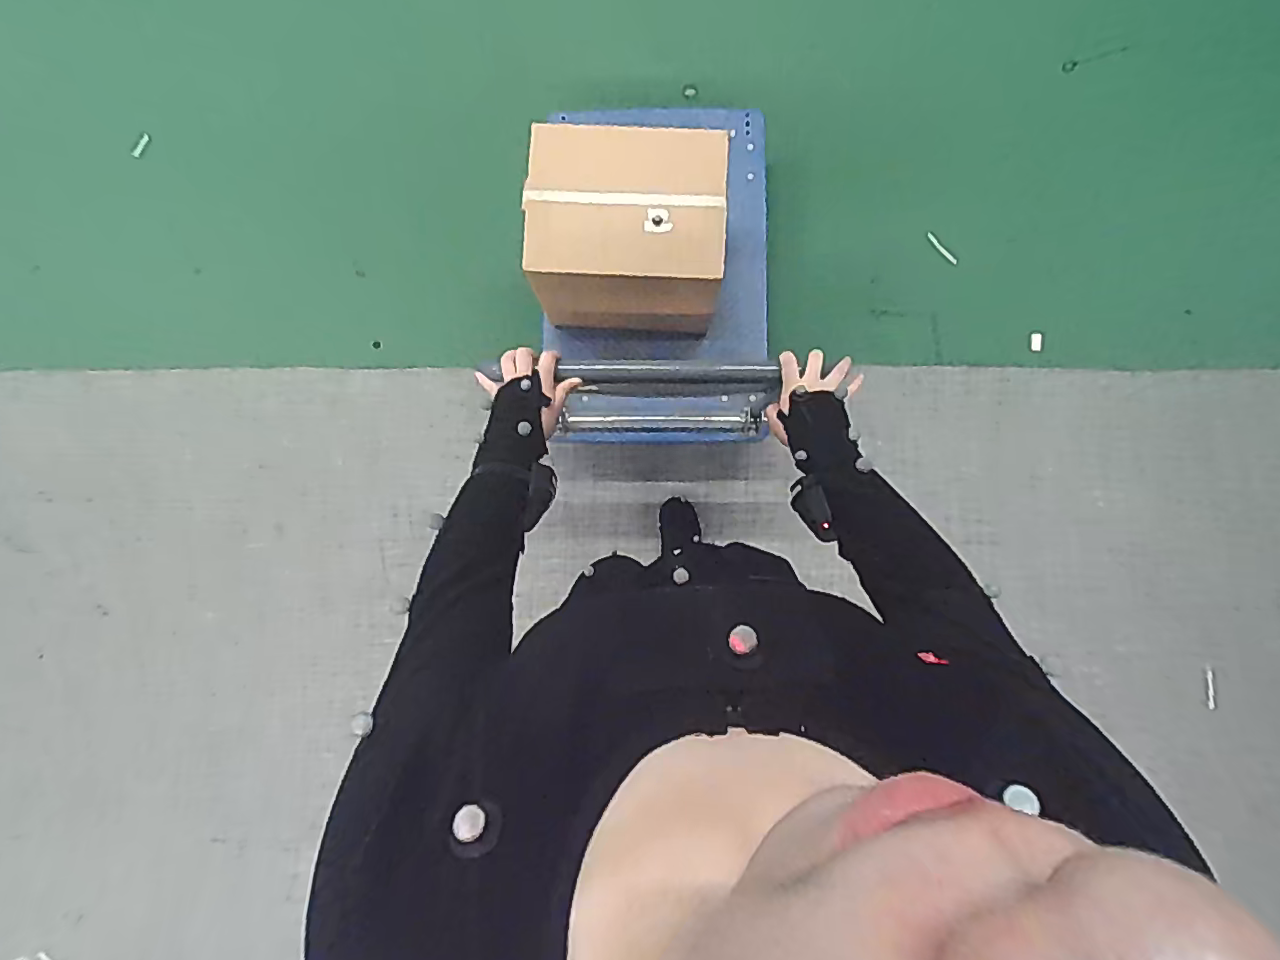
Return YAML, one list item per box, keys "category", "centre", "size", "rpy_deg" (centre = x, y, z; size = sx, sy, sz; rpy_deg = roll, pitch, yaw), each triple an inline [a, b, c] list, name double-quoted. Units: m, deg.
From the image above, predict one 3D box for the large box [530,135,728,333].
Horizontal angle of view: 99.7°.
- category: "large box"
  centre: [-0.022, -0.546, 1.256]
  size: [0.408, 0.320, 0.320]
  rpy_deg: [3, 85, 1]
